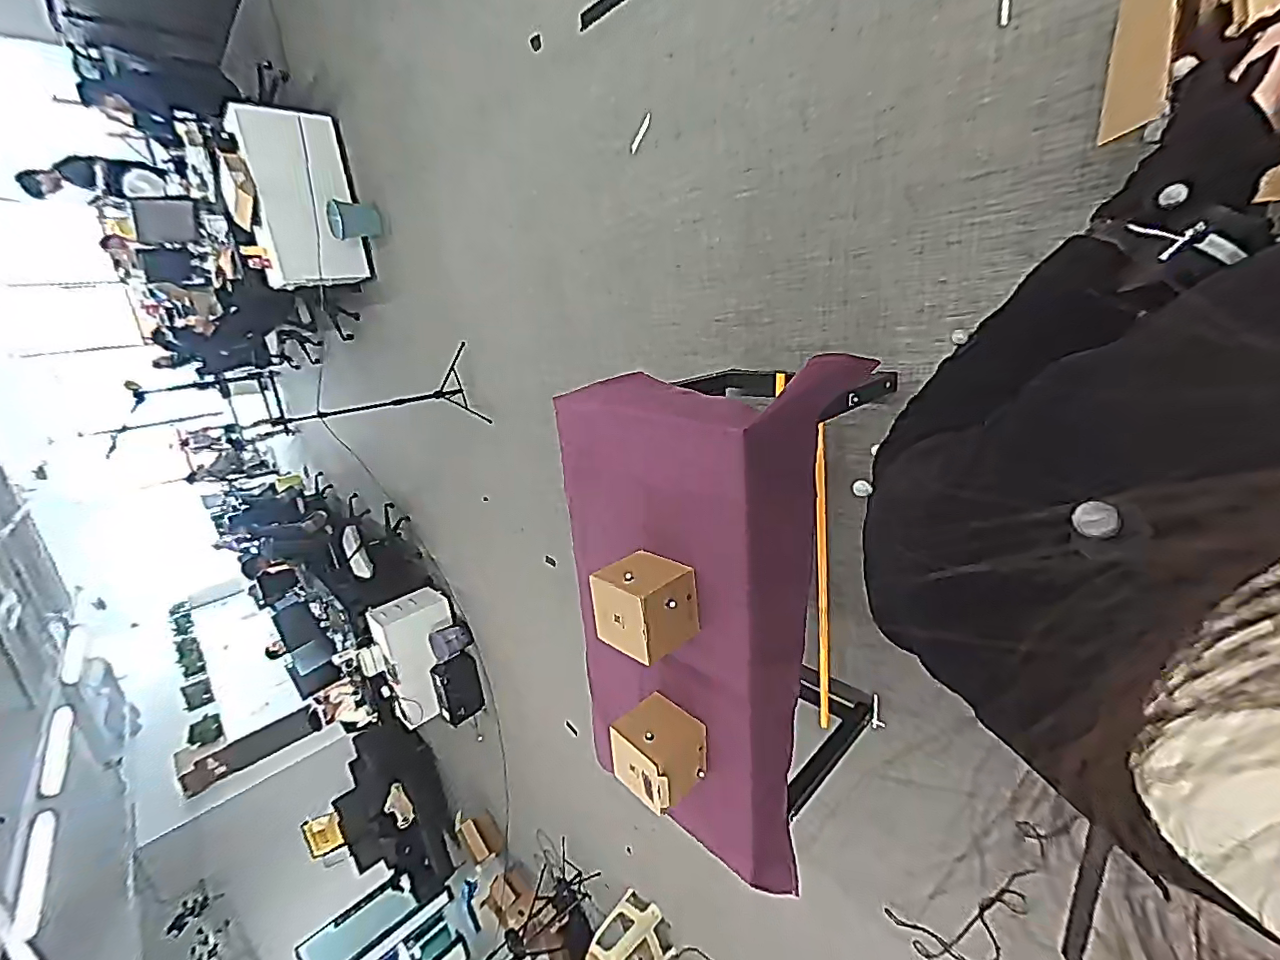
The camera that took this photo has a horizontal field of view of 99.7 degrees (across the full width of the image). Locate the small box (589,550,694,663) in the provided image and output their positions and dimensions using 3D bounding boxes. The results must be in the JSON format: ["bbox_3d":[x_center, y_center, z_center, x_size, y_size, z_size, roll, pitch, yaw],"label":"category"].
[{"bbox_3d":[0.010,0.276,1.228,0.179,0.176,0.168,13,116,46],"label":"small box"}]

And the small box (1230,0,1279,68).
[{"bbox_3d":[0.880,-0.670,0.682,0.179,0.176,0.168,-18,96,47],"label":"small box"}]

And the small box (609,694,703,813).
[{"bbox_3d":[0.046,0.677,1.362,0.179,0.176,0.168,18,119,44],"label":"small box"}]
